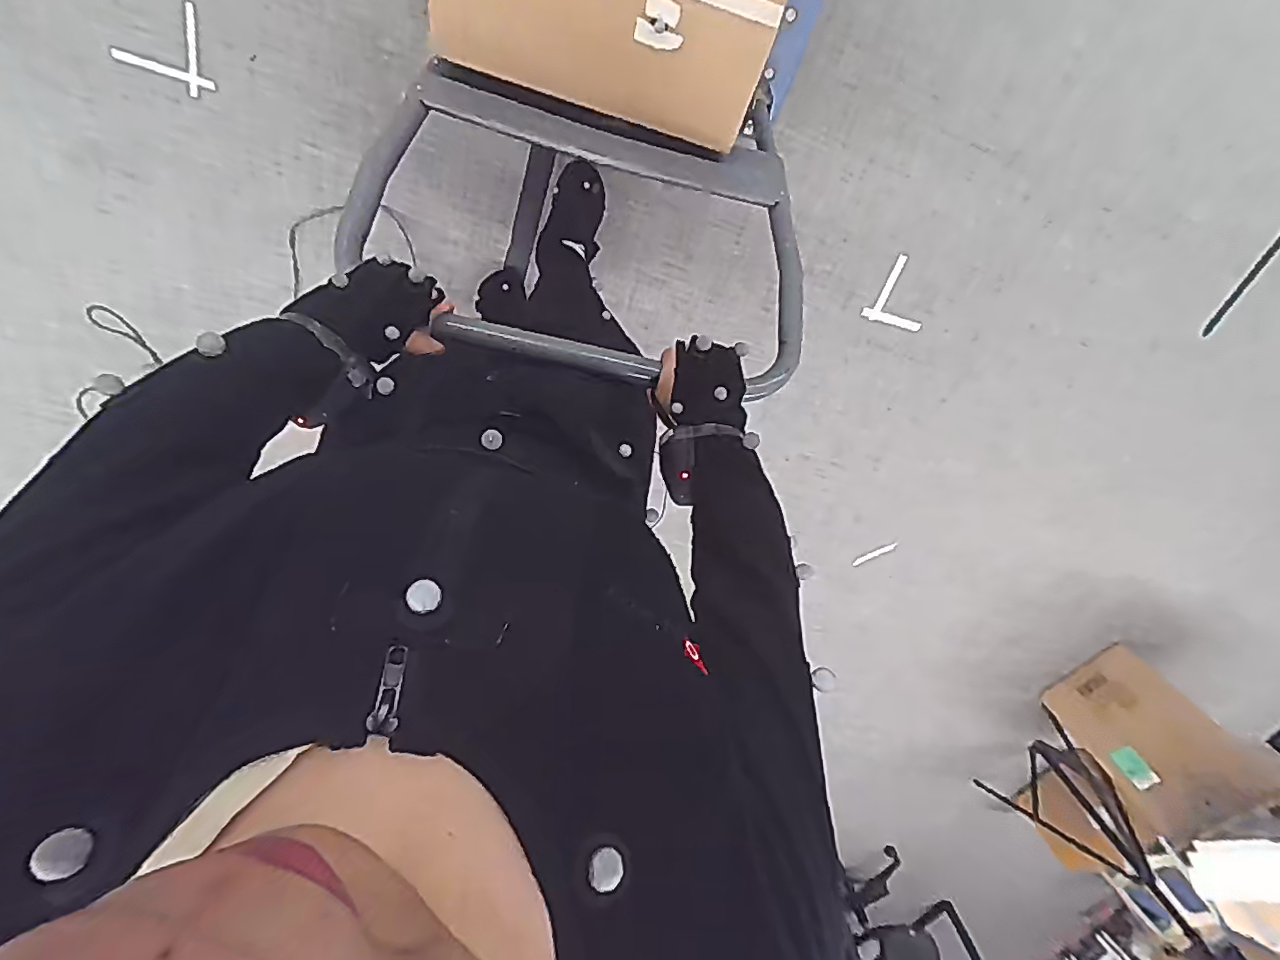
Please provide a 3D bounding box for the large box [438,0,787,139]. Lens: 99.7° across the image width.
[{"bbox_3d":[-0.020,-0.708,0.683,0.408,0.320,0.320,10,143,-12],"label":"large box"}]
